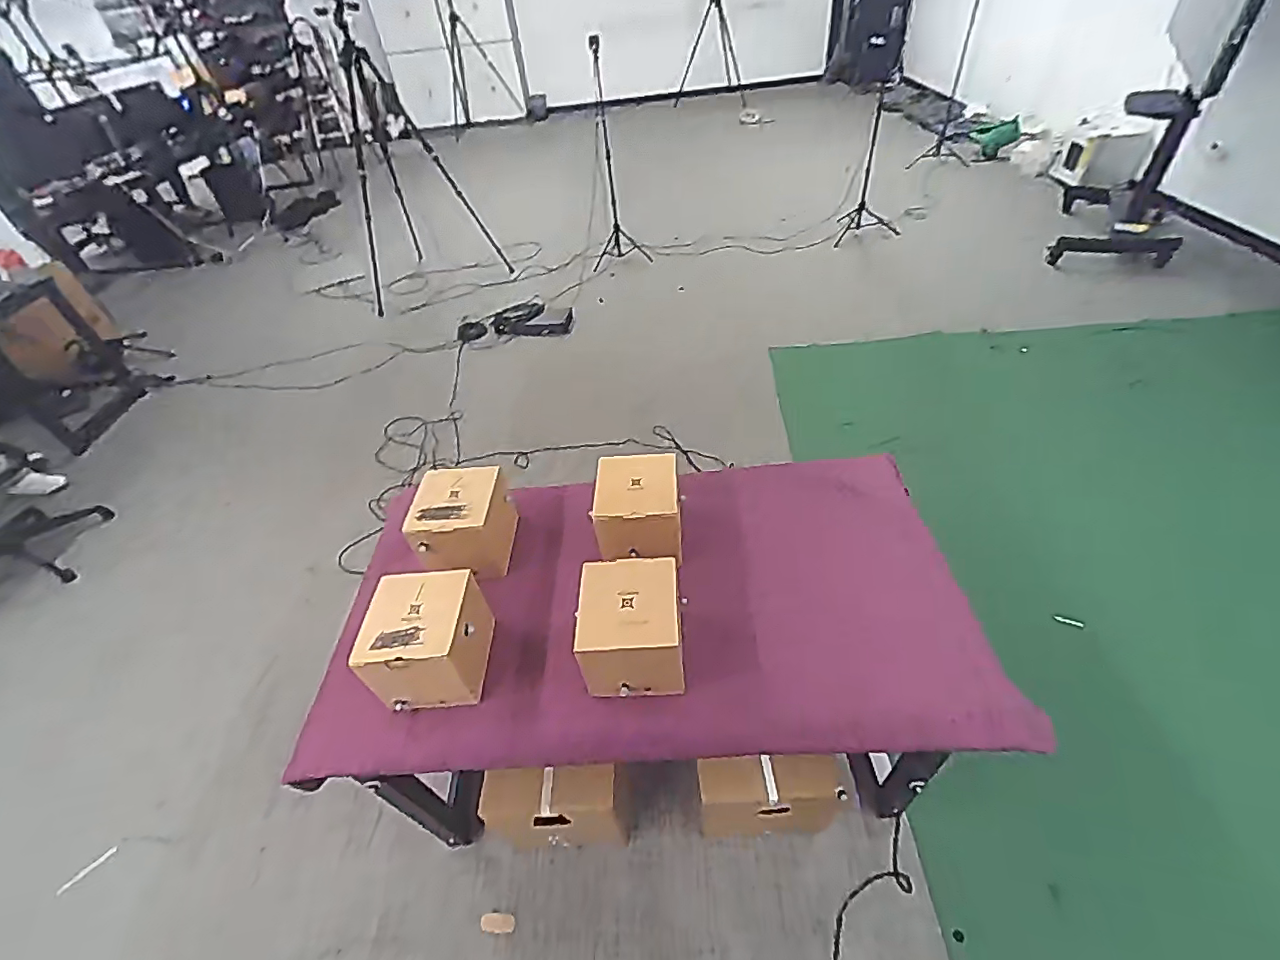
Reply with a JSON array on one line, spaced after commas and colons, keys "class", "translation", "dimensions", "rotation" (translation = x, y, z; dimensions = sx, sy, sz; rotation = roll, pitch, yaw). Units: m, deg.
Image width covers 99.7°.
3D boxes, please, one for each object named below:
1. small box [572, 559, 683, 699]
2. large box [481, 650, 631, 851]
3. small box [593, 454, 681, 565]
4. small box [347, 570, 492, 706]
[{"class": "small box", "translation": [-0.013, 0.258, 0.937], "dimensions": [0.168, 0.176, 0.179], "rotation": [-4, 43, 5]}, {"class": "large box", "translation": [-0.197, 0.716, 1.447], "dimensions": [0.320, 0.320, 0.408], "rotation": [-4, 43, 3]}, {"class": "small box", "translation": [0.000, 0.067, 1.134], "dimensions": [0.168, 0.176, 0.179], "rotation": [-3, 45, 5]}, {"class": "small box", "translation": [-0.374, 0.285, 0.959], "dimensions": [0.168, 0.176, 0.179], "rotation": [-5, 42, 3]}]
